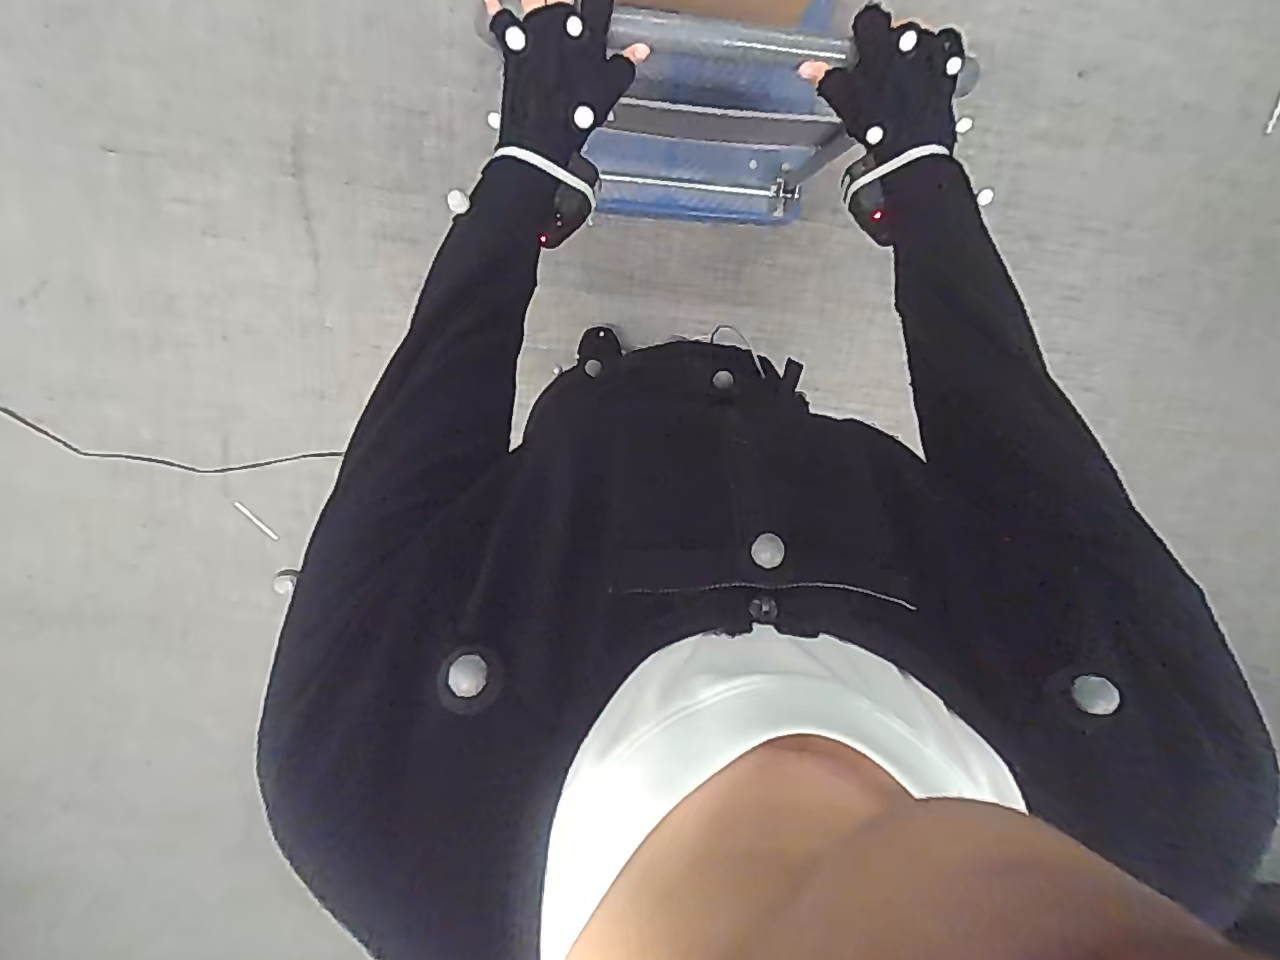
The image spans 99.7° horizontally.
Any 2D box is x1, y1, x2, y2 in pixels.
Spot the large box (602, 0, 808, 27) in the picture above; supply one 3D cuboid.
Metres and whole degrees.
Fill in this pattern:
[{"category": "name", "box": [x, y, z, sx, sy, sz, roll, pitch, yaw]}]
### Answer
[{"category": "large box", "box": [0.119, -0.994, 0.857, 0.408, 0.320, 0.320, 6, 107, -4]}]
